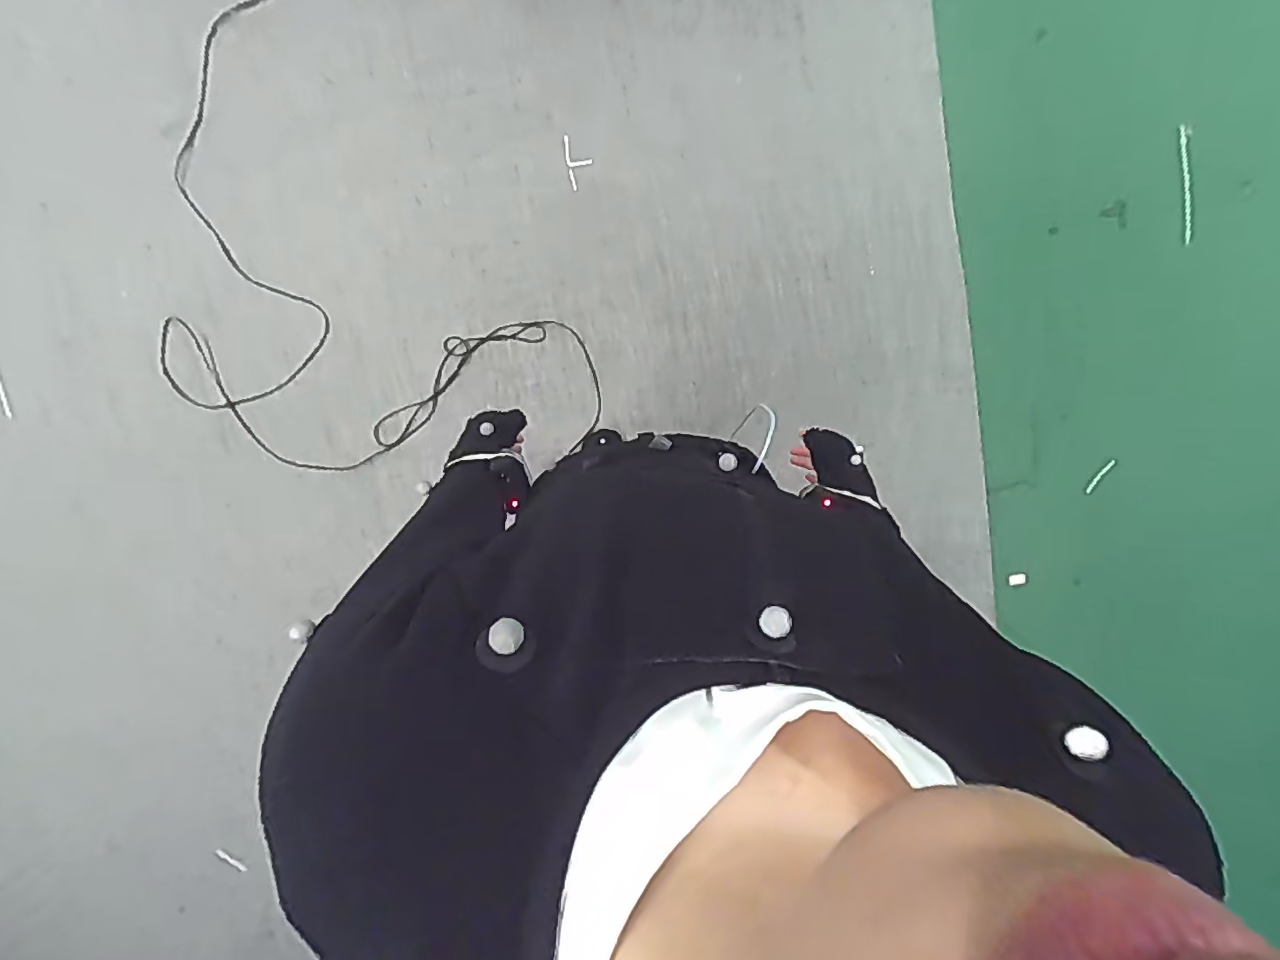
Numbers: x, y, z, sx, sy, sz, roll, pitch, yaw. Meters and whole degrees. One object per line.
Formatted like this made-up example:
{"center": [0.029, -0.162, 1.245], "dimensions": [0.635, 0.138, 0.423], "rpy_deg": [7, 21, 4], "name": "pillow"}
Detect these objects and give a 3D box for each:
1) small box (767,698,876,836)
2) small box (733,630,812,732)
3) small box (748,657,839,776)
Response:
{"center": [0.369, 0.564, 1.088], "dimensions": [0.168, 0.176, 0.179], "rpy_deg": [-15, 97, 0], "name": "small box"}
{"center": [0.352, 0.517, 1.410], "dimensions": [0.168, 0.176, 0.179], "rpy_deg": [-12, 97, -1], "name": "small box"}
{"center": [0.359, 0.539, 1.249], "dimensions": [0.168, 0.176, 0.179], "rpy_deg": [-13, 97, 0], "name": "small box"}
